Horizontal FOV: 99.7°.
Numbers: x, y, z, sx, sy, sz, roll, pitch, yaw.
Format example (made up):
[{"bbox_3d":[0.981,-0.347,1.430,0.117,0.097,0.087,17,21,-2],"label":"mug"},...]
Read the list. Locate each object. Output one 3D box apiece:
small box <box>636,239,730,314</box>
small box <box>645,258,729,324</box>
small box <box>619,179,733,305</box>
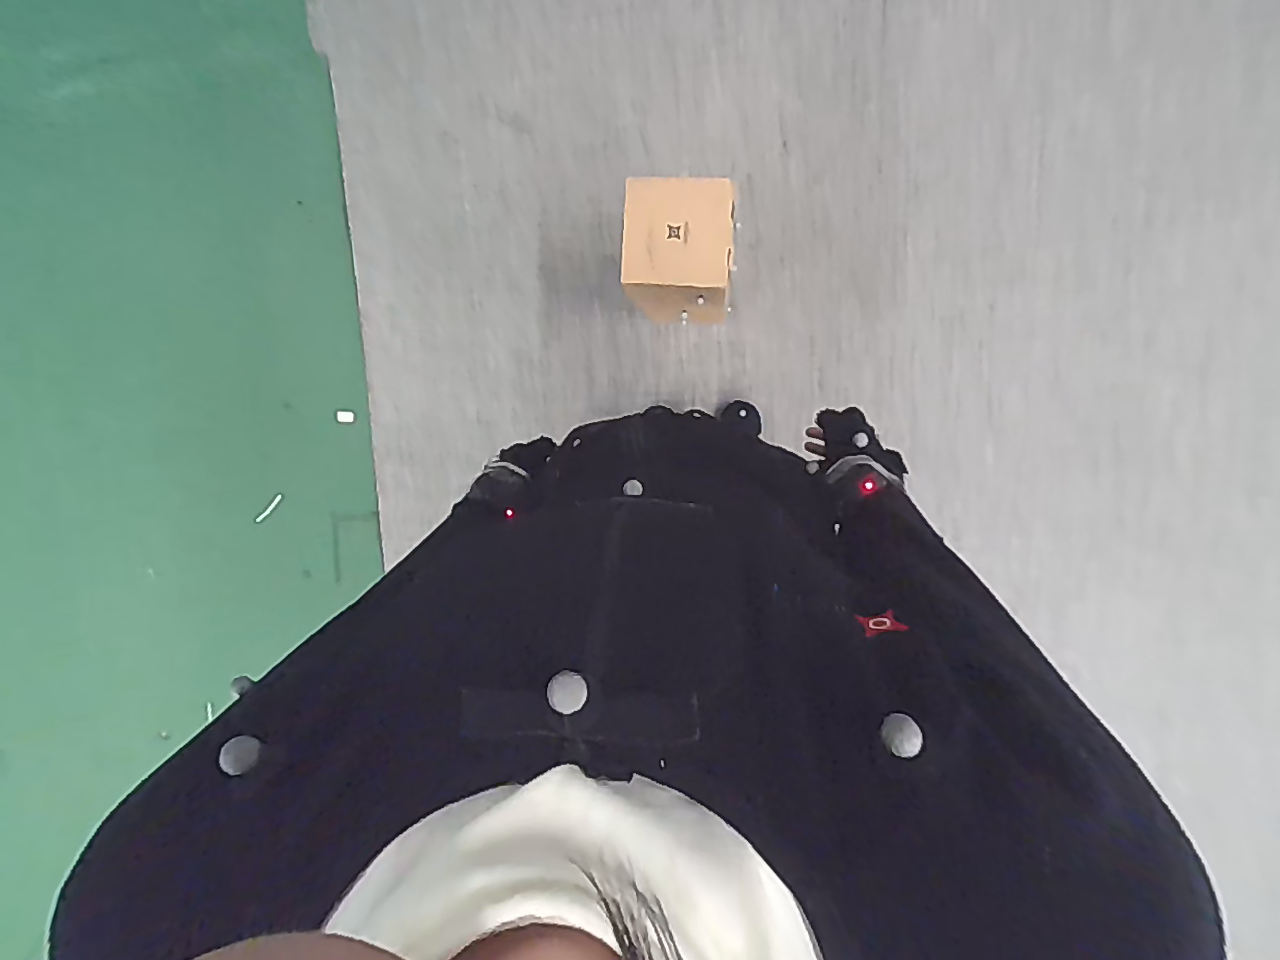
[{"bbox_3d":[0.091,-0.435,1.106,0.179,0.176,0.168,2,101,8],"label":"small box"},{"bbox_3d":[0.114,-0.462,1.263,0.179,0.176,0.168,4,99,8],"label":"small box"},{"bbox_3d":[0.067,-0.406,0.945,0.179,0.176,0.168,4,99,8],"label":"small box"}]
